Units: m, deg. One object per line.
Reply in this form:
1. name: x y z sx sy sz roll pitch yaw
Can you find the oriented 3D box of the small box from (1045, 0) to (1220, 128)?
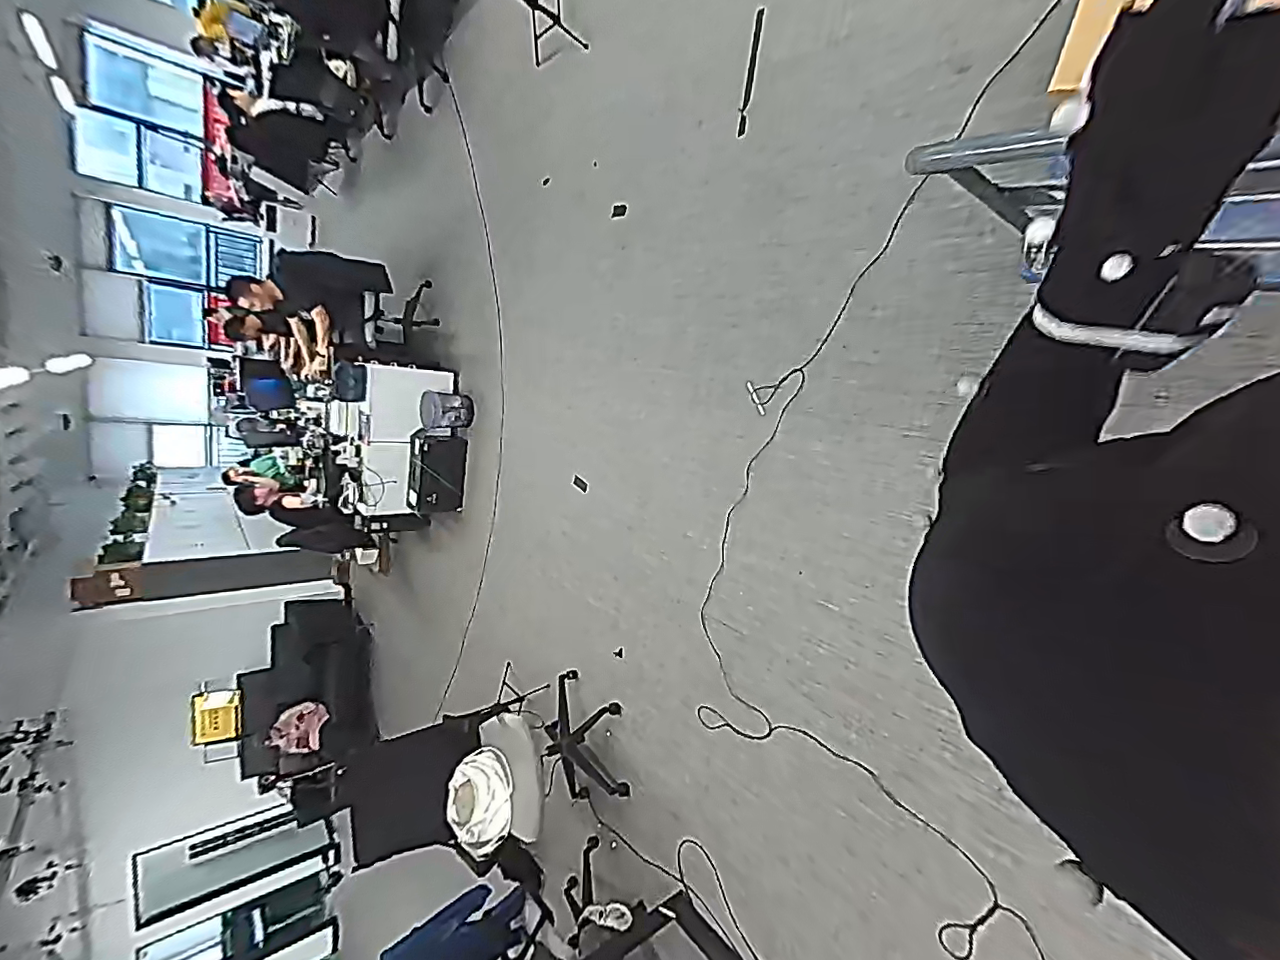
1. small box: 0.857 -0.743 0.944 0.179 0.176 0.168 28 111 43
